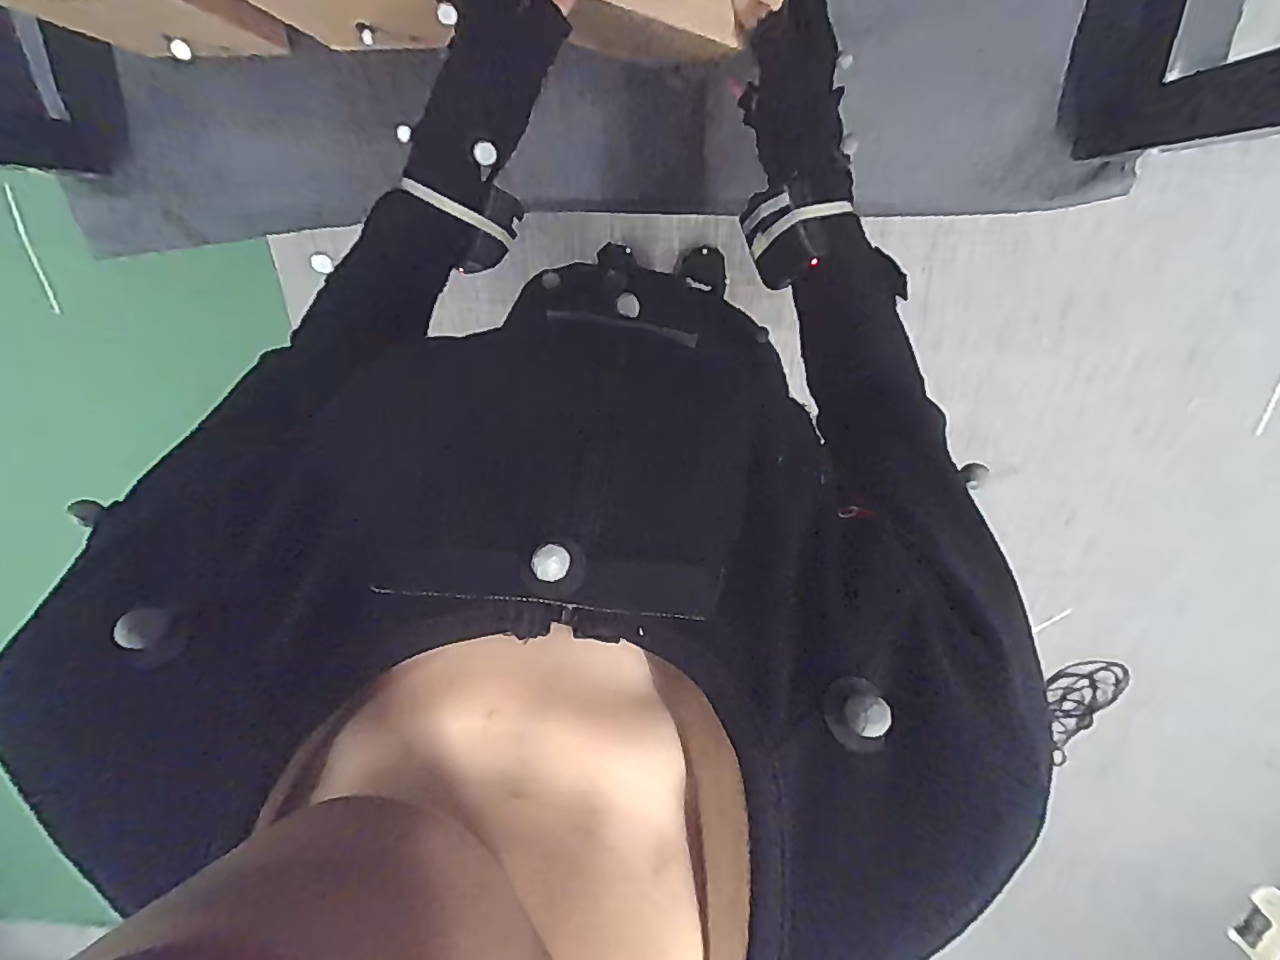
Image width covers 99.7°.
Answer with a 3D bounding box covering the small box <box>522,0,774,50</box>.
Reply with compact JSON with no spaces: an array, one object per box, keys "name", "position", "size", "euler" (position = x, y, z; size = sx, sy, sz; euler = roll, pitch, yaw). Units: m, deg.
[{"name":"small box","position":[0.015,-0.436,0.385],"size":[0.176,0.168,0.179],"euler":[2,122,-21]}]
